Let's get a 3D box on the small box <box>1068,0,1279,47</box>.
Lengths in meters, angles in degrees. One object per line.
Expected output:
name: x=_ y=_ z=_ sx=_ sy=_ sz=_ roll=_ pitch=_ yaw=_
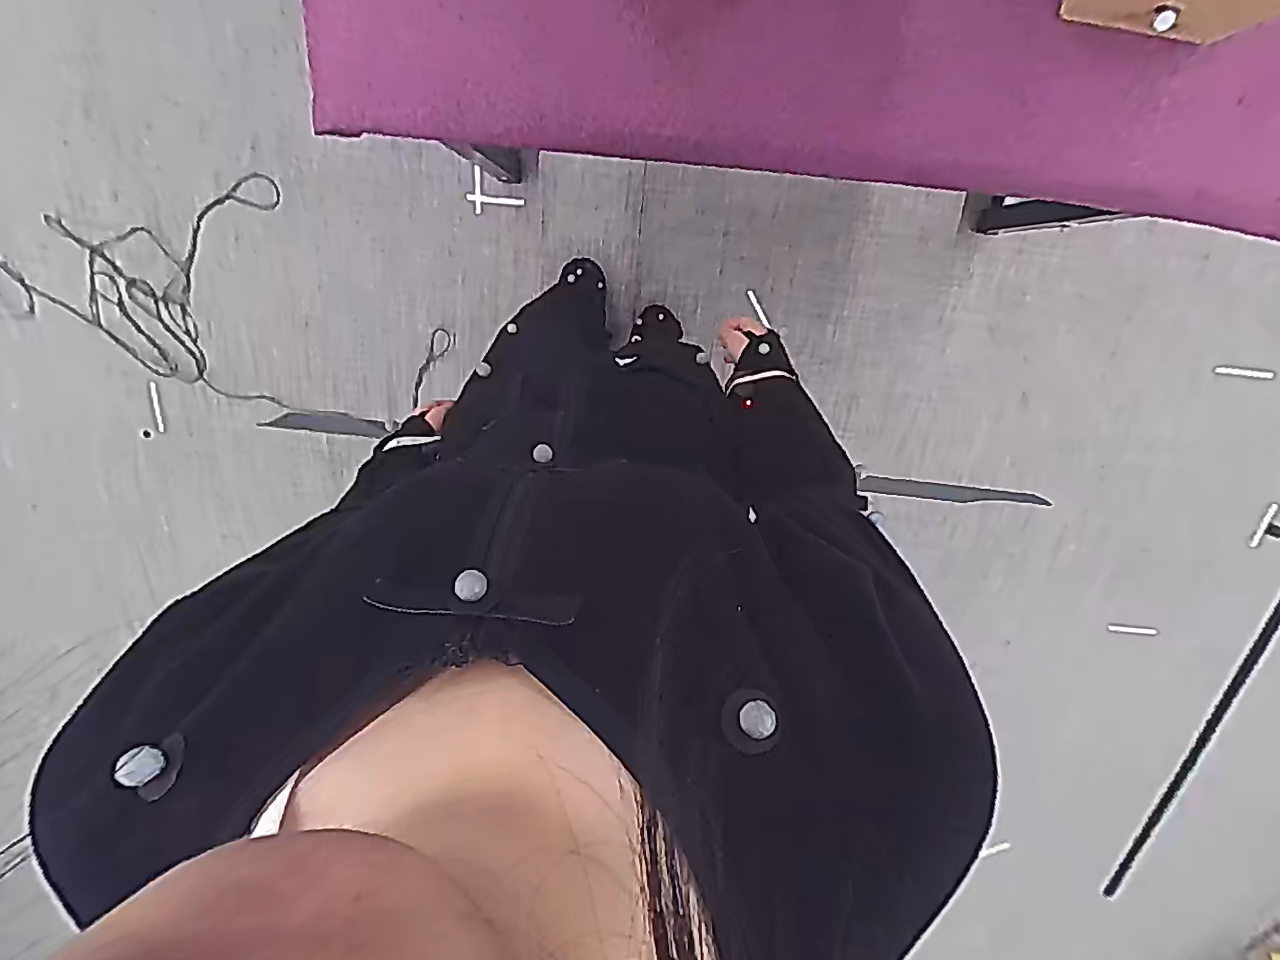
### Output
small box: x=0.525 y=-0.518 z=0.460 sx=0.168 sy=0.176 sz=0.179 roll=8 pitch=111 yaw=-2

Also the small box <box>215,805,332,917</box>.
small box: x=-1.017 y=1.063 z=1.519 sx=0.168 sy=0.176 sz=0.179 roll=-34 pitch=105 yaw=11
